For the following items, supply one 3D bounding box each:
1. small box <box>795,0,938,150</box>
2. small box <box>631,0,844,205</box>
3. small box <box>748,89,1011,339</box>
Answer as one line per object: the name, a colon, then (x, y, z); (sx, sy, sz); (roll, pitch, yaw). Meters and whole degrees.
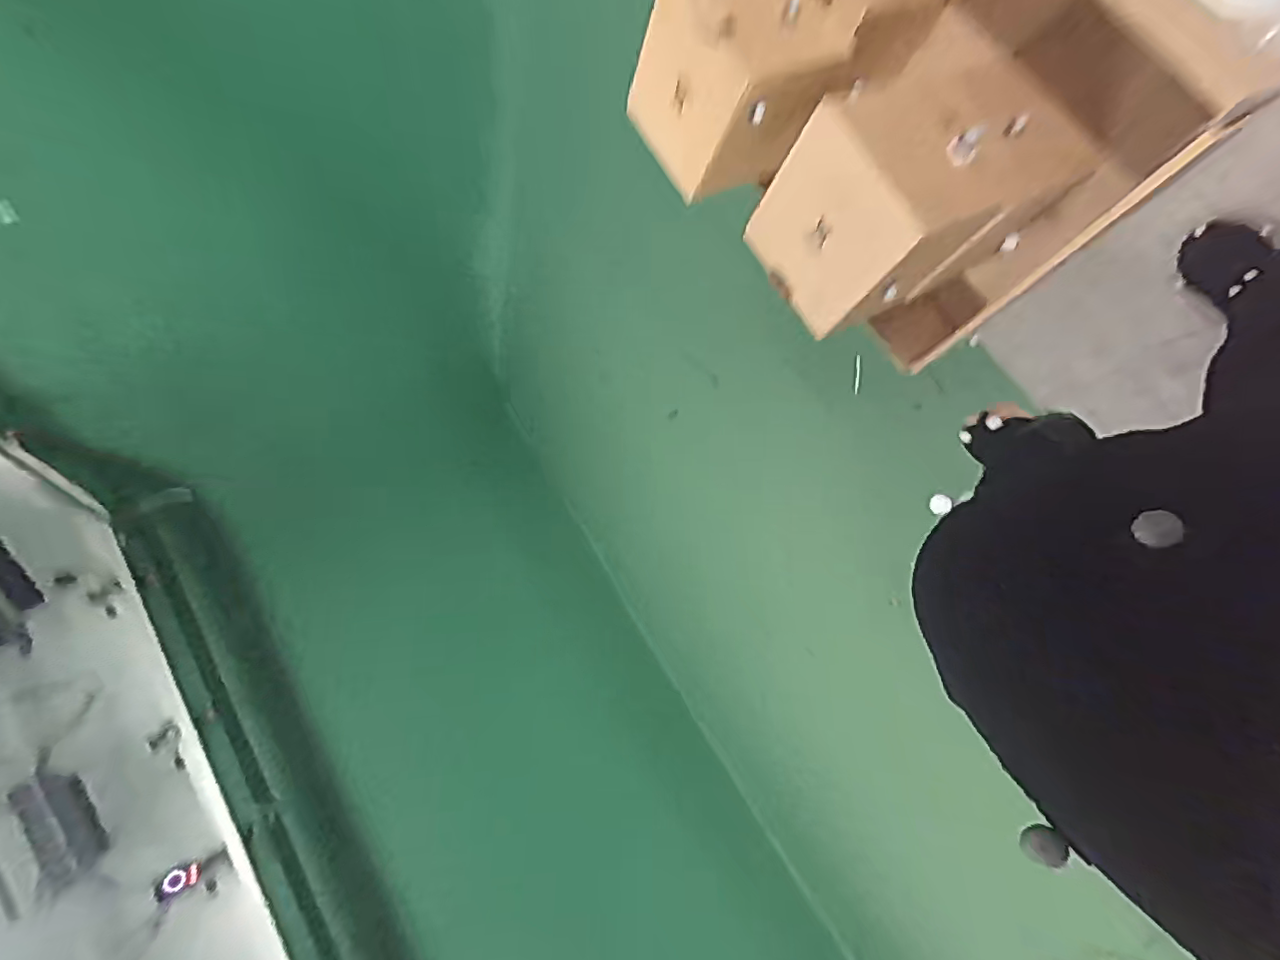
small box: (0.251, -0.588, 0.723); (0.168, 0.176, 0.179); (54, 157, 9)
small box: (0.118, -0.495, 0.687); (0.168, 0.176, 0.179); (58, 157, 6)
small box: (0.263, -0.297, 0.616); (0.168, 0.176, 0.179); (57, 156, 8)
